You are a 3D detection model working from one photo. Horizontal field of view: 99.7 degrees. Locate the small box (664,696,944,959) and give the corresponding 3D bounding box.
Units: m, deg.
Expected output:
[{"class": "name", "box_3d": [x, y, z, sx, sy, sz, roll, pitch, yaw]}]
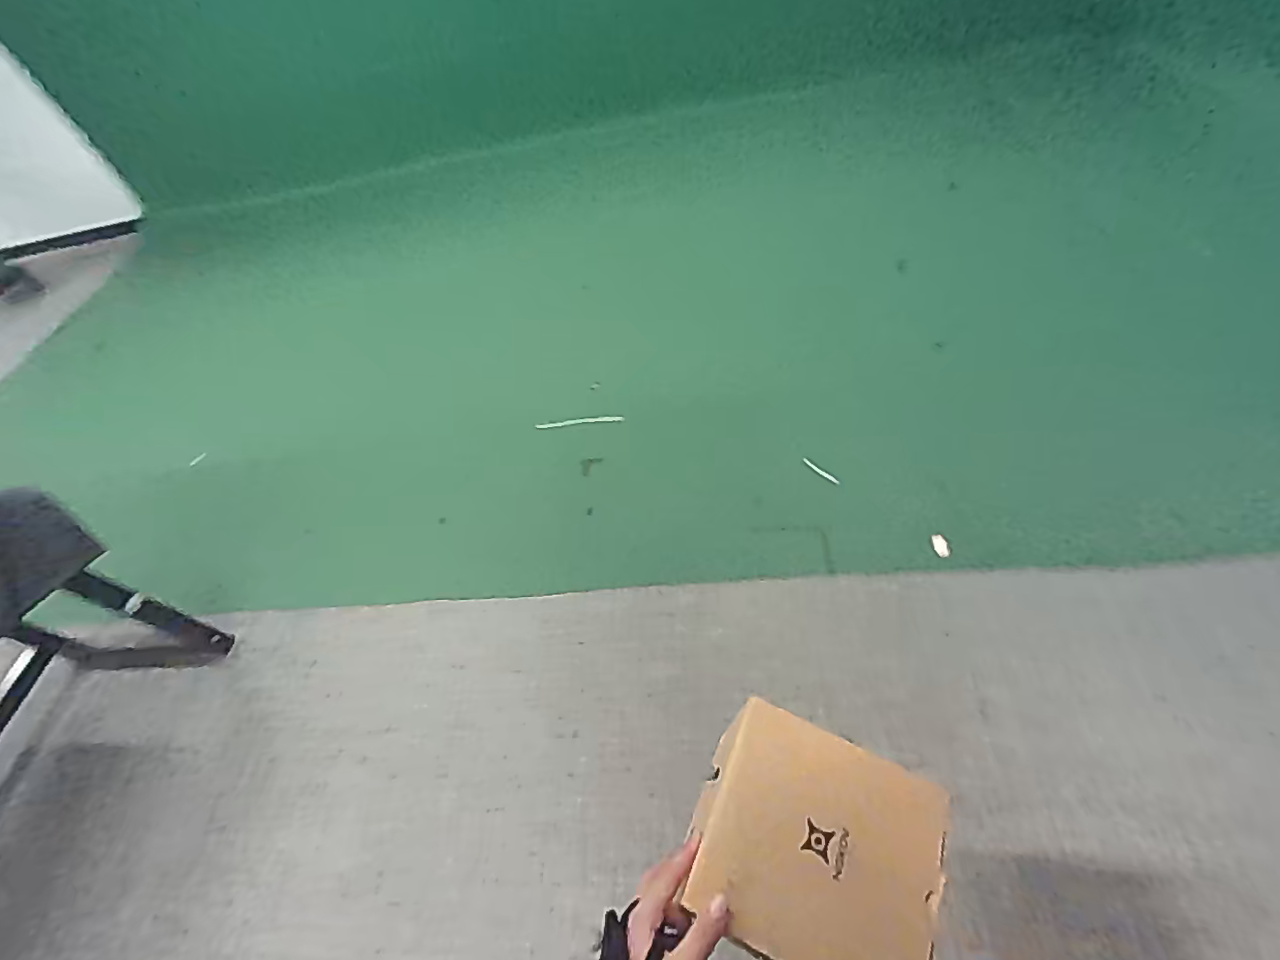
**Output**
[{"class": "small box", "box_3d": [0.131, 0.325, 0.476, 0.179, 0.176, 0.168, 22, 55, 12]}]
